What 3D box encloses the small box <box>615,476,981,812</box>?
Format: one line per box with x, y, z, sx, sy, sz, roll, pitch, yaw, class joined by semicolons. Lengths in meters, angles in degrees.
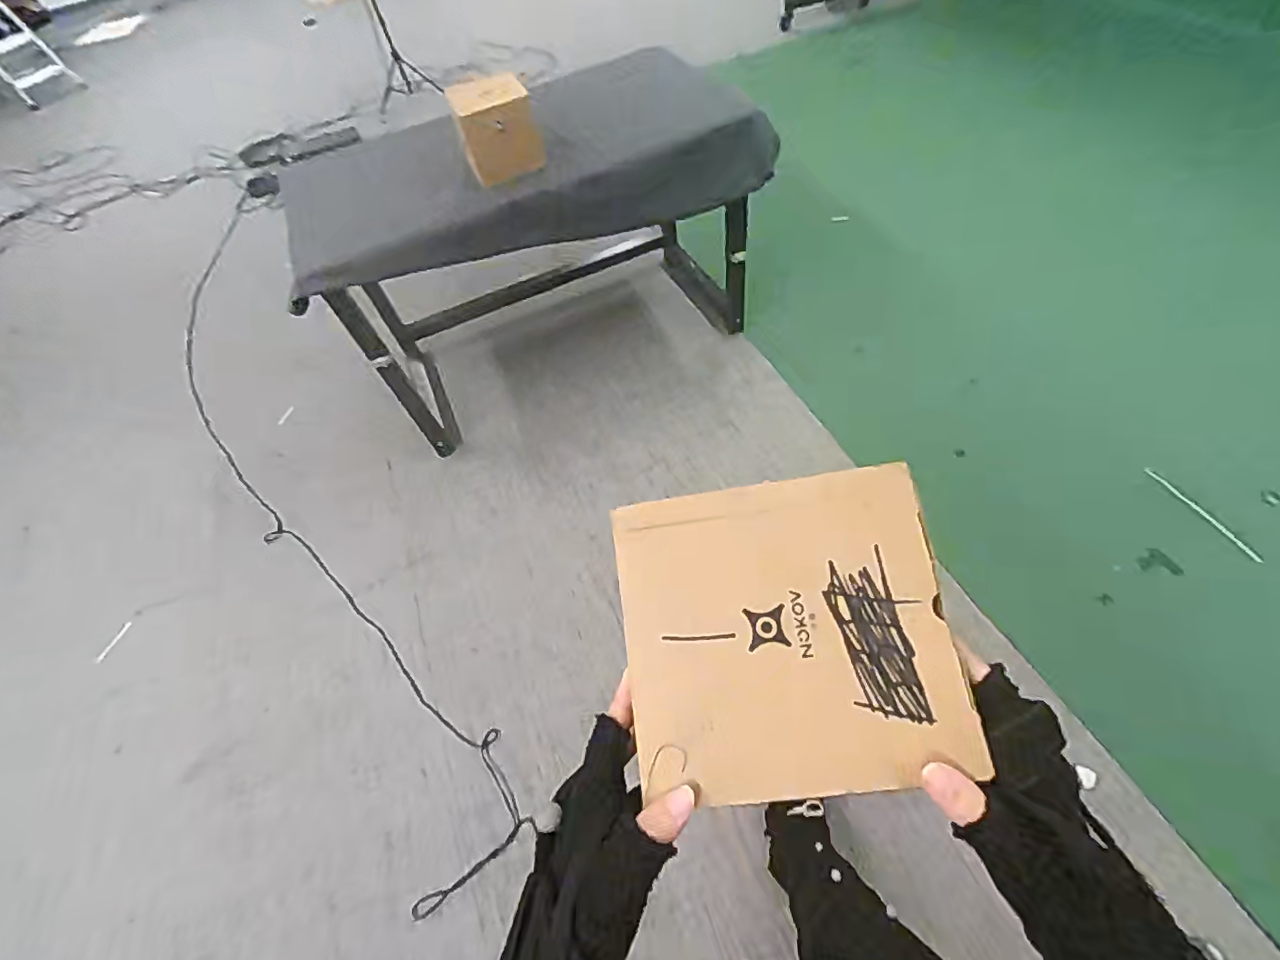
0.088;0.107;0.376;0.179;0.176;0.168;-9;73;6;small box

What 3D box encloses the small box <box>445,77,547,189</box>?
-0.350;-0.850;1.333;0.179;0.176;0.168;-23;57;-9;small box
